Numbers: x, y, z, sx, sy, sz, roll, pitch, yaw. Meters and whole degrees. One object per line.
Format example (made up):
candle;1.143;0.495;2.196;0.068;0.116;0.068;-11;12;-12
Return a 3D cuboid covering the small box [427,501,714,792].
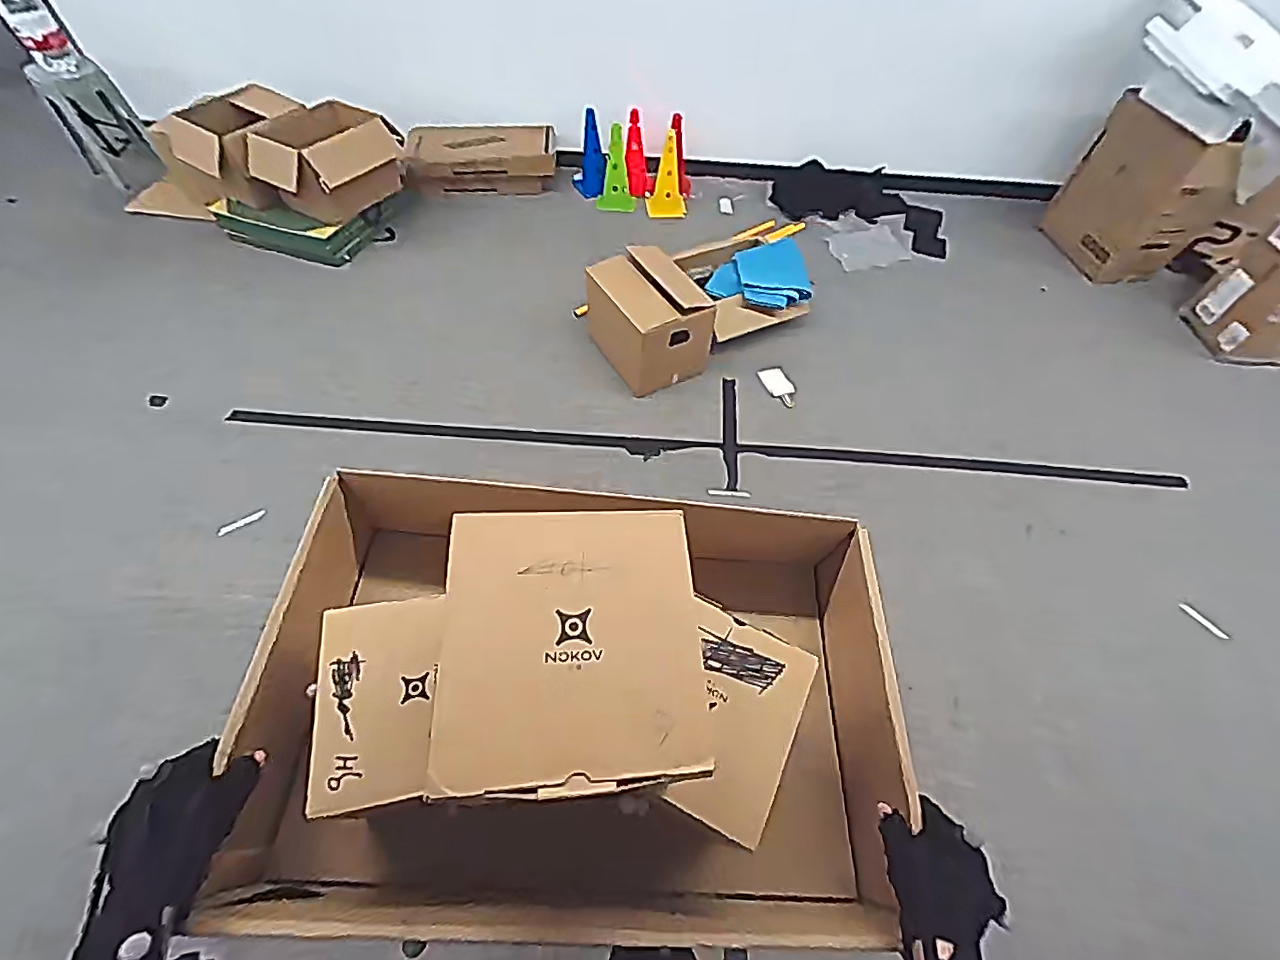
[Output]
small box;-0.053;0.132;0.413;0.168;0.176;0.179;-1;59;-10
